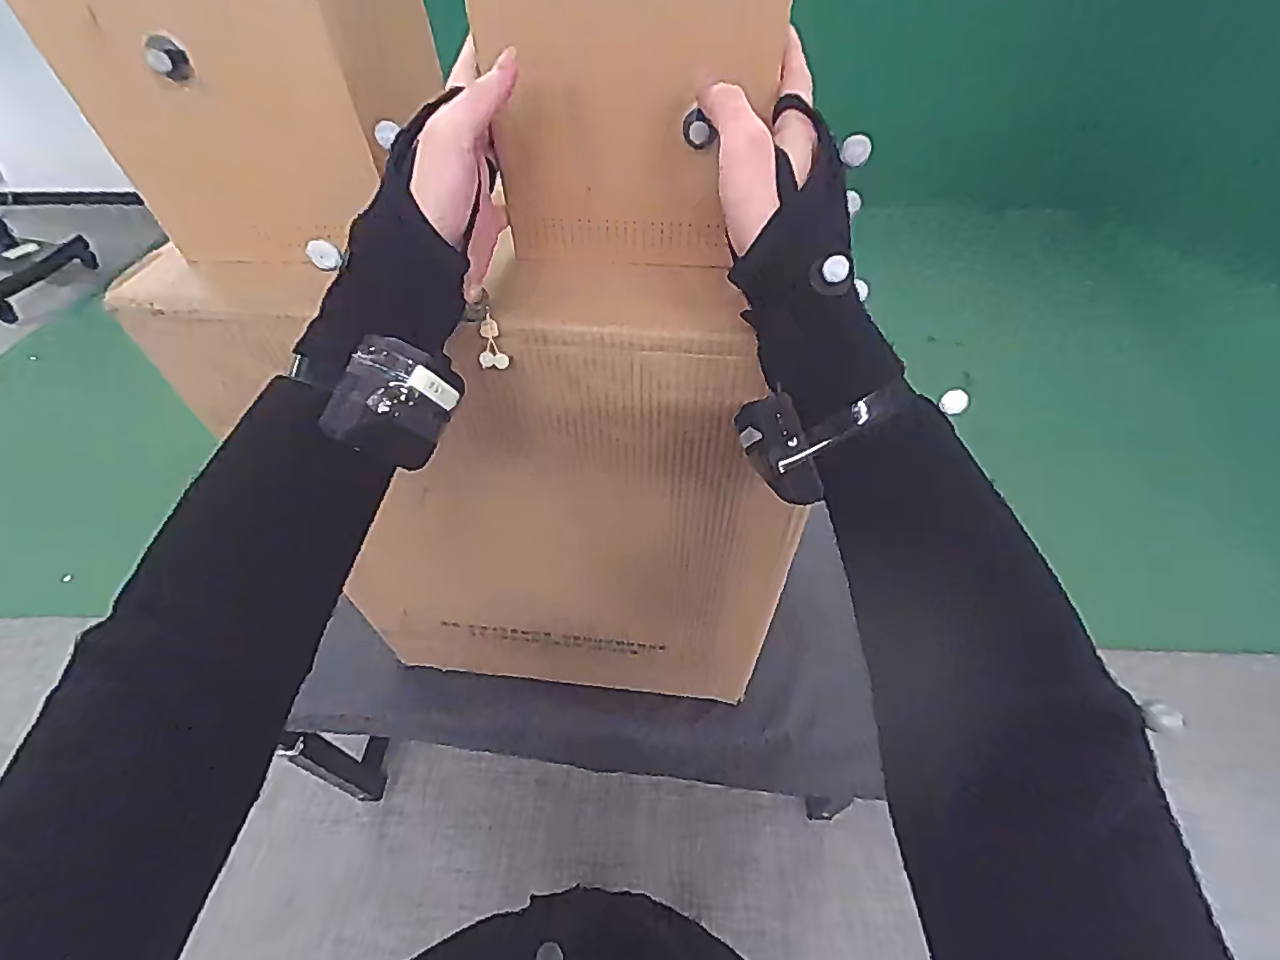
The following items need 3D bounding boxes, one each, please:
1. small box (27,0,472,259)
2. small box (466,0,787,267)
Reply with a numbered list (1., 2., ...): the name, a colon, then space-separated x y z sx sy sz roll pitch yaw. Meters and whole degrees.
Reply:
1. small box: -0.252 -0.282 0.401 0.179 0.176 0.168 3 53 6
2. small box: 0.000 -0.273 0.392 0.179 0.176 0.168 5 51 5
